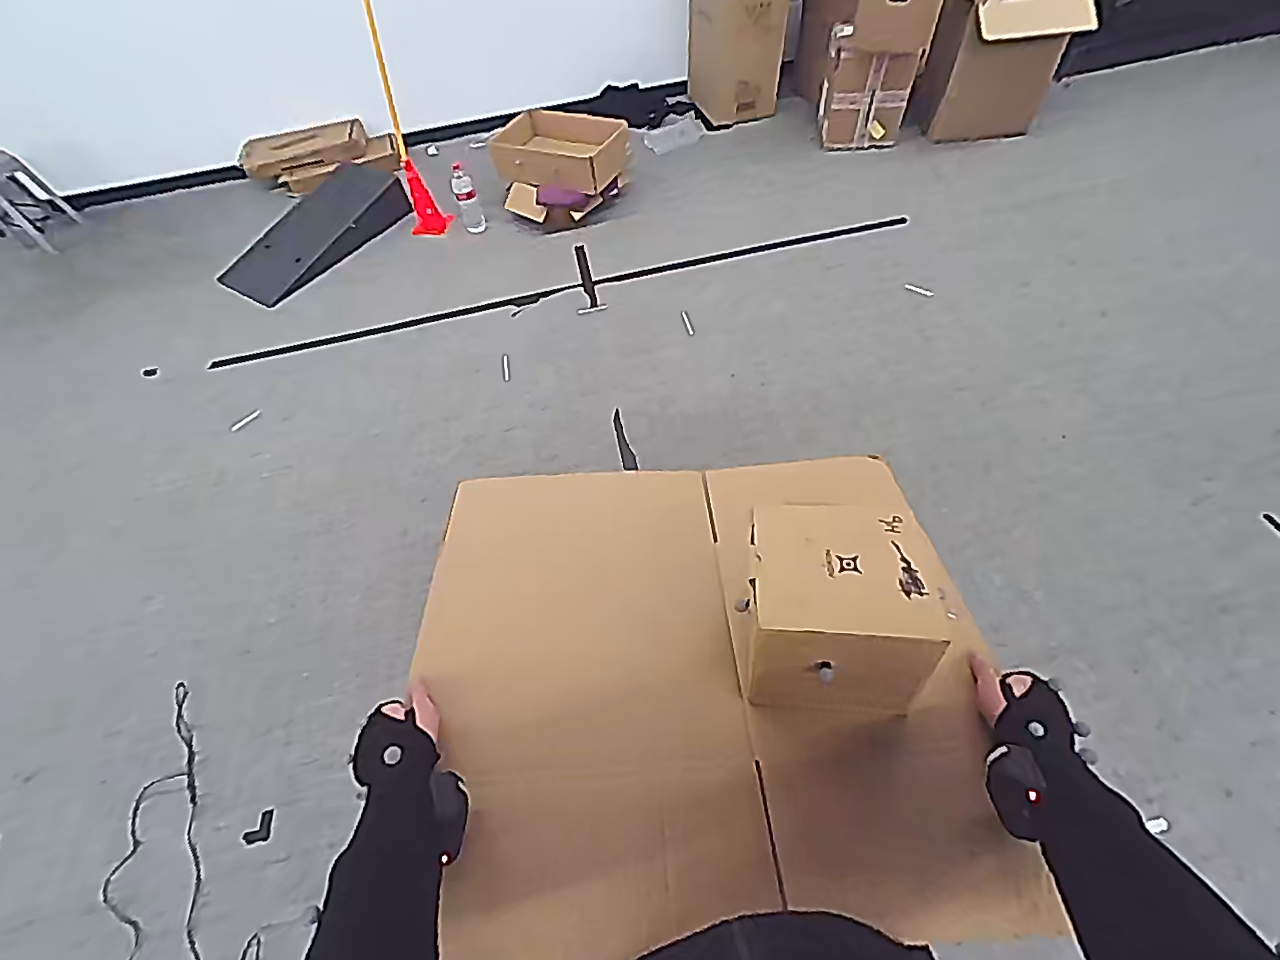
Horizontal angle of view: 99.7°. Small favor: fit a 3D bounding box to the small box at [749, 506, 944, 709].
[{"bbox_3d":[0.215,0.147,0.621,0.179,0.176,0.168,0,45,10],"label":"small box"}]
